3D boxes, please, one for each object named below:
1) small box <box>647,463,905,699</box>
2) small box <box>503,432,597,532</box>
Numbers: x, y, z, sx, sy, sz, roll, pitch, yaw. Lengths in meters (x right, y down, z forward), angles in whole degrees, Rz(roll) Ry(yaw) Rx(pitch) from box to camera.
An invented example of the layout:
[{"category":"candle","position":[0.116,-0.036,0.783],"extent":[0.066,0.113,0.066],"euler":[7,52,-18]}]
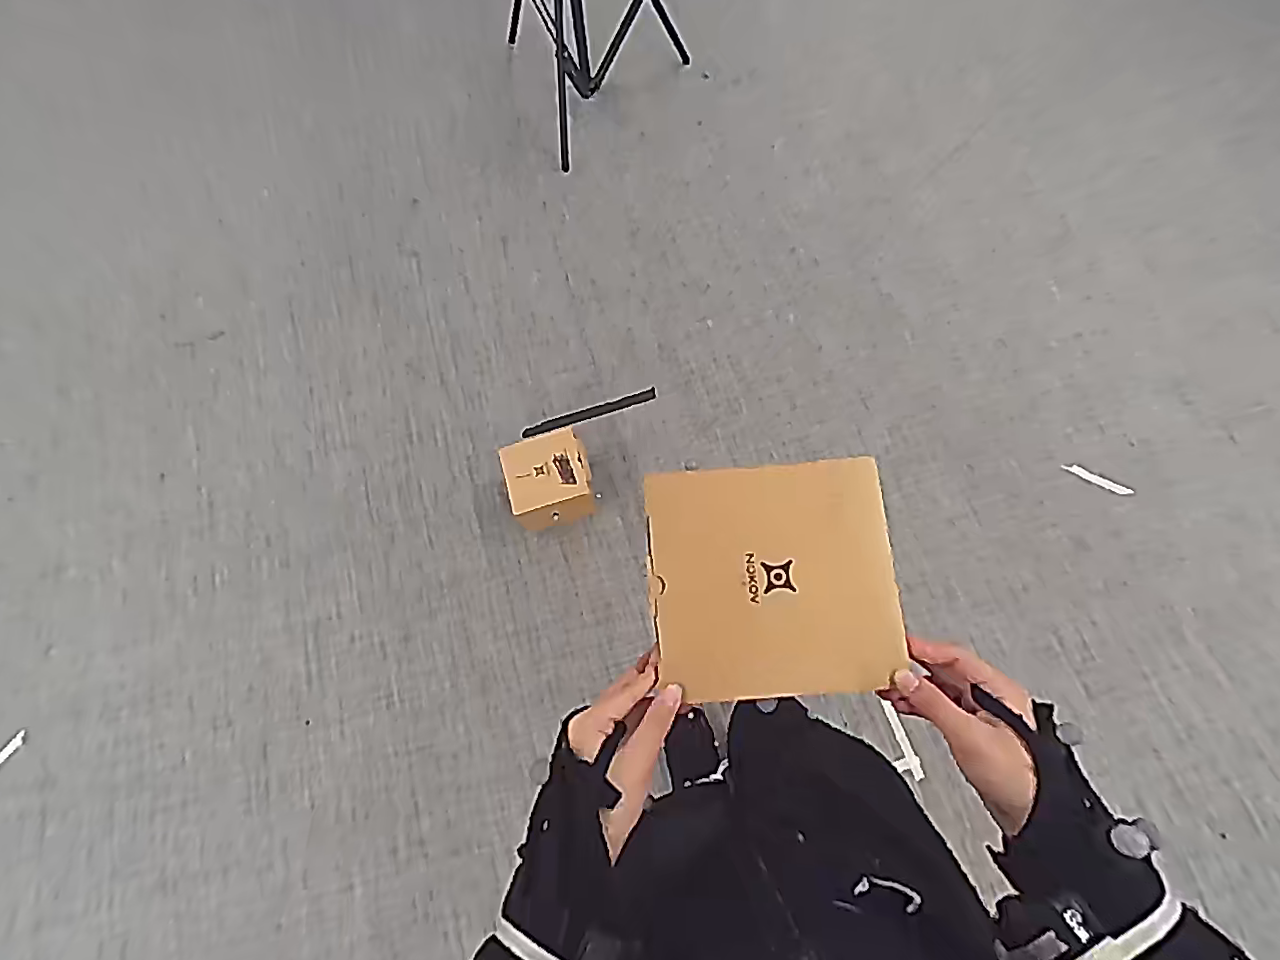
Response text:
[{"category":"small box","position":[0.100,0.085,0.476],"extent":[0.179,0.176,0.168],"euler":[-5,79,3]},{"category":"small box","position":[-0.204,0.010,1.279],"extent":[0.179,0.176,0.168],"euler":[-17,72,-2]}]
